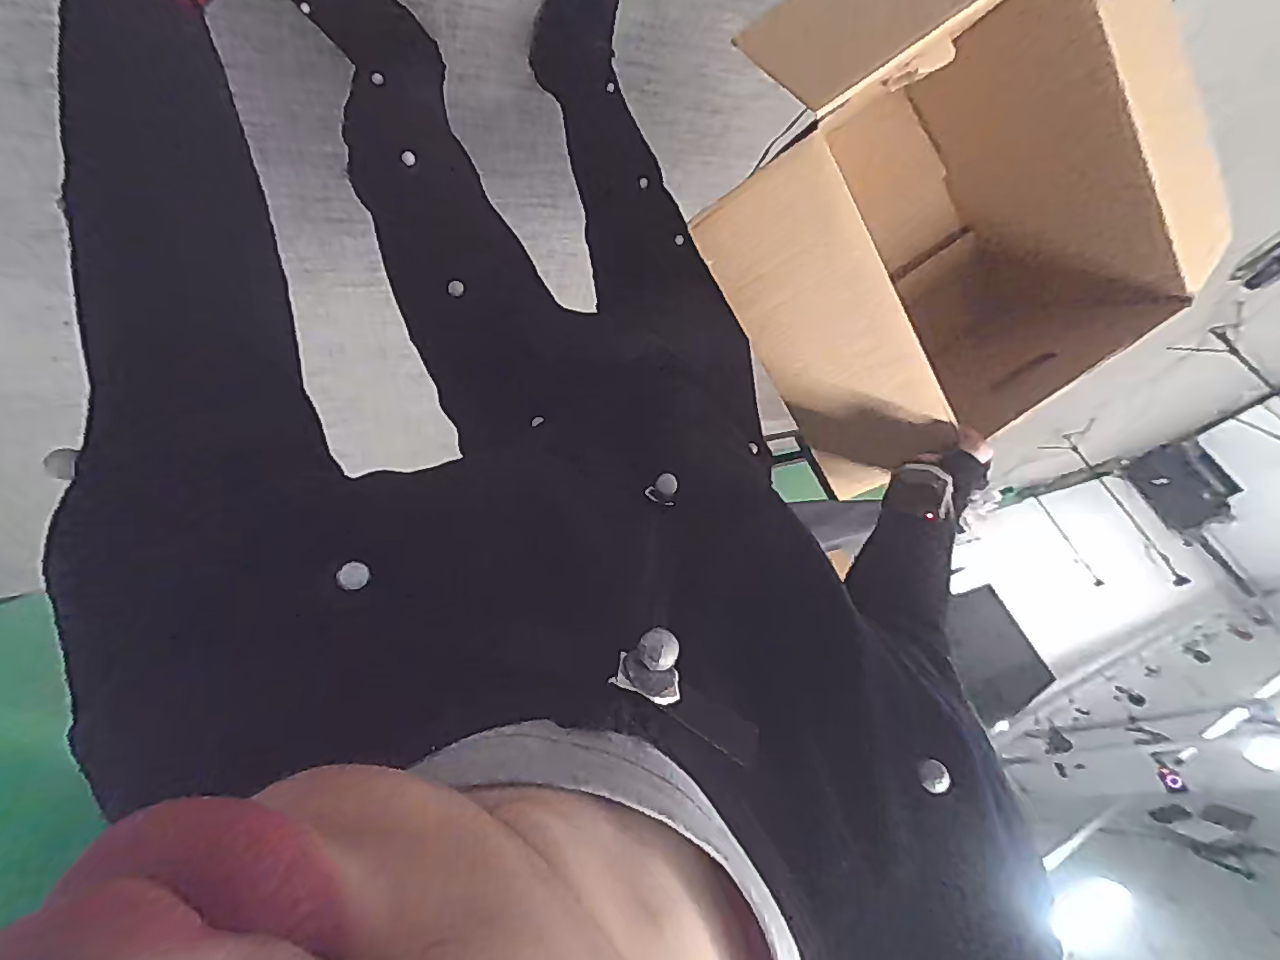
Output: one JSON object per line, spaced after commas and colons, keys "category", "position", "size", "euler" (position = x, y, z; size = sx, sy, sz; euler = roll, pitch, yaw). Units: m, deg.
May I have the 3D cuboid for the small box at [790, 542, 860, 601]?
{"category": "small box", "position": [0.739, 0.367, 2.181], "size": [0.179, 0.176, 0.168], "euler": [-9, 154, -25]}
